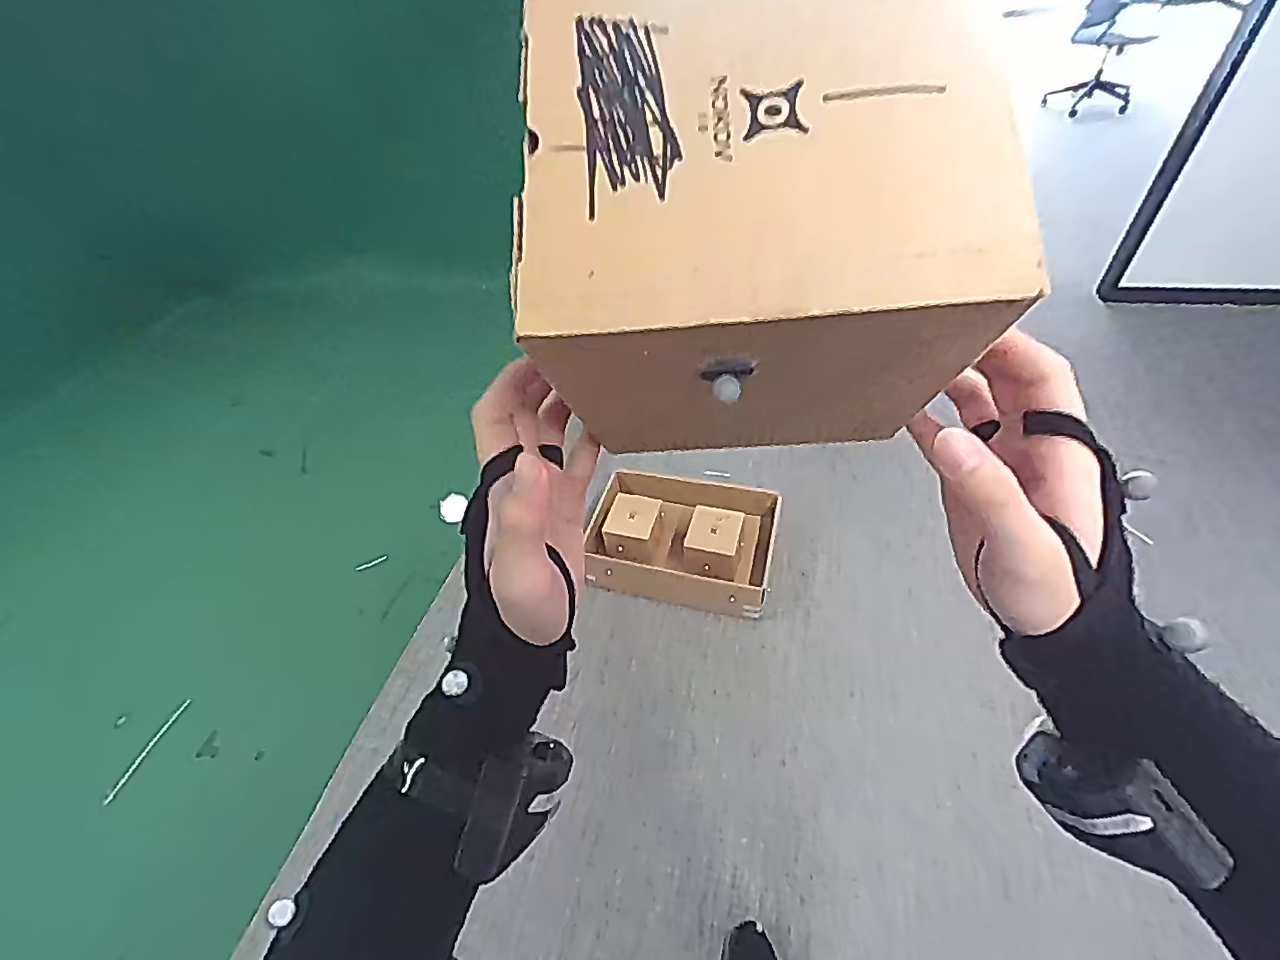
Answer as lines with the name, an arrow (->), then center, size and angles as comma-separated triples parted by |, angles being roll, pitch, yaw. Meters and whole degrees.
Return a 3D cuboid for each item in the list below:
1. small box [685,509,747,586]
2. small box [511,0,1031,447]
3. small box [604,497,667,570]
small box -> 0.259, 0.227, 1.797 | 0.168, 0.176, 0.179 | 10, 50, 18
small box -> 0.051, -0.117, 0.278 | 0.179, 0.176, 0.168 | -2, 78, 8
small box -> -0.009, 0.188, 1.879 | 0.168, 0.176, 0.179 | 9, 49, 16
